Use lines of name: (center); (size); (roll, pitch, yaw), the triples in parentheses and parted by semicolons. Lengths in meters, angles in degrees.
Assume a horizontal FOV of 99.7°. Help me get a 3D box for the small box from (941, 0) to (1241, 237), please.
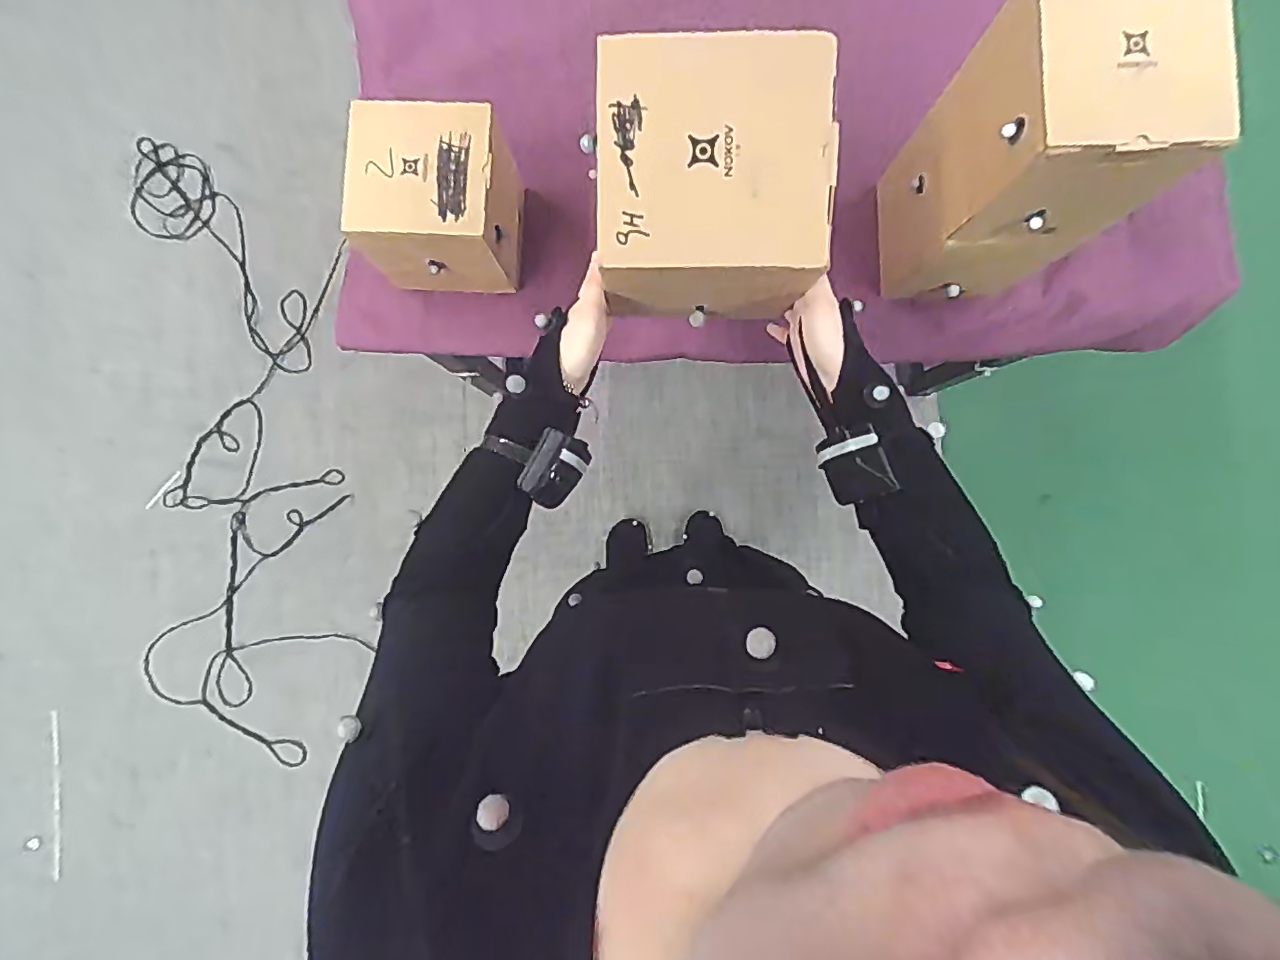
small box: (0.429, -0.371, 0.545); (0.168, 0.176, 0.179); (-2, 88, 1)

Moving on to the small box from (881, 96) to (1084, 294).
small box: (0.430, -0.361, 0.707); (0.168, 0.176, 0.179); (-1, 88, 2)

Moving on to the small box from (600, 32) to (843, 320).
small box: (0.058, -0.243, 0.474); (0.179, 0.176, 0.168); (1, 93, 0)
